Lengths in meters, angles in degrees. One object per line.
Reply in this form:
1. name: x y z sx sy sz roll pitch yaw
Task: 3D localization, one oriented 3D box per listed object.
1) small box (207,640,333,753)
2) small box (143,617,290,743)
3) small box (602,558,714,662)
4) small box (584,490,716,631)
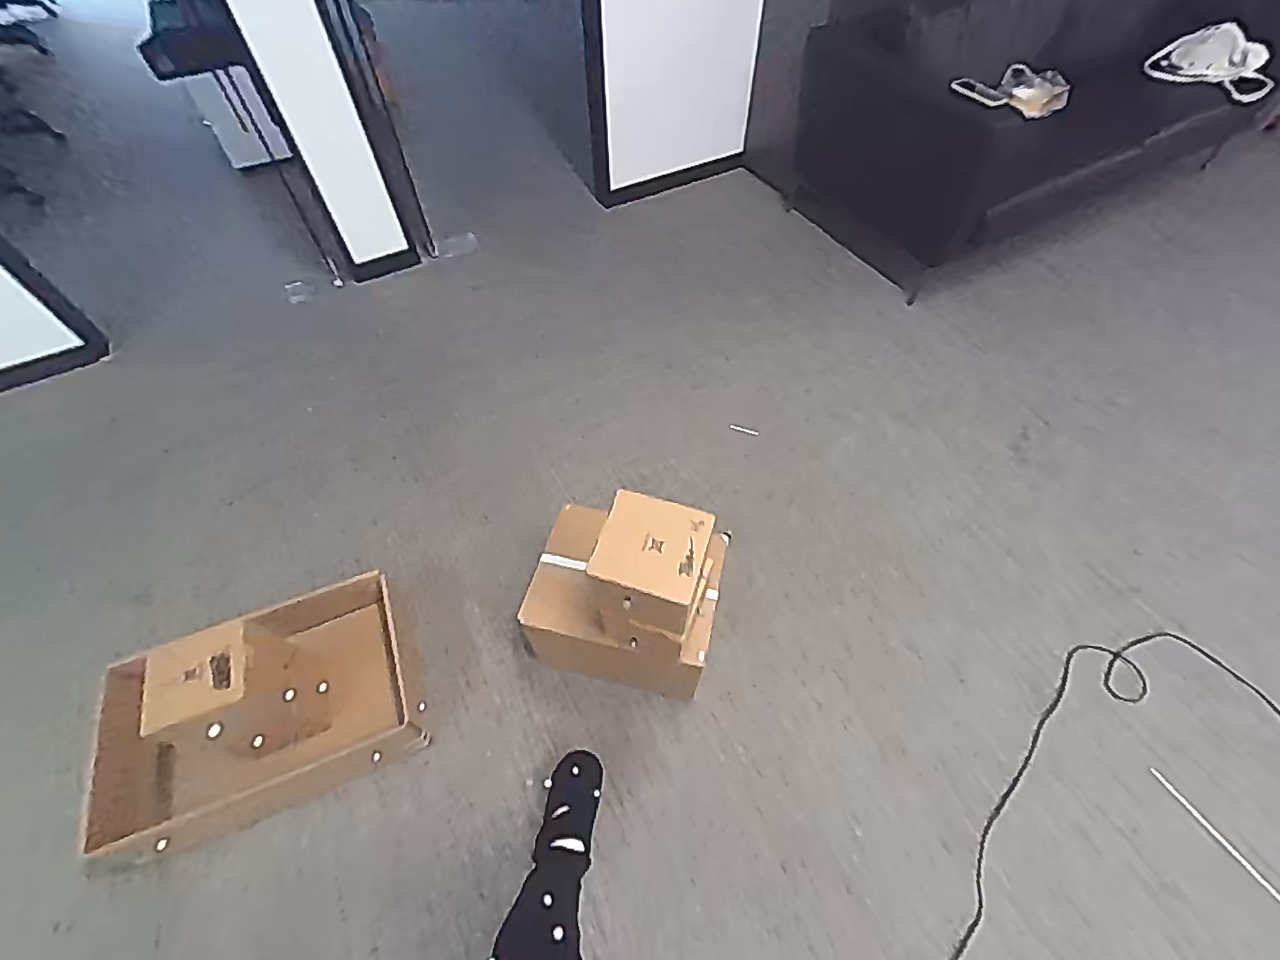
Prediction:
1. small box: -0.828 0.493 1.219 0.179 0.176 0.168 -20 59 -13
2. small box: -0.830 0.403 1.081 0.179 0.176 0.168 -20 58 -11
3. small box: 0.035 0.235 1.078 0.168 0.176 0.179 20 61 12
4. small box: 0.021 0.145 0.941 0.179 0.176 0.168 16 61 11
